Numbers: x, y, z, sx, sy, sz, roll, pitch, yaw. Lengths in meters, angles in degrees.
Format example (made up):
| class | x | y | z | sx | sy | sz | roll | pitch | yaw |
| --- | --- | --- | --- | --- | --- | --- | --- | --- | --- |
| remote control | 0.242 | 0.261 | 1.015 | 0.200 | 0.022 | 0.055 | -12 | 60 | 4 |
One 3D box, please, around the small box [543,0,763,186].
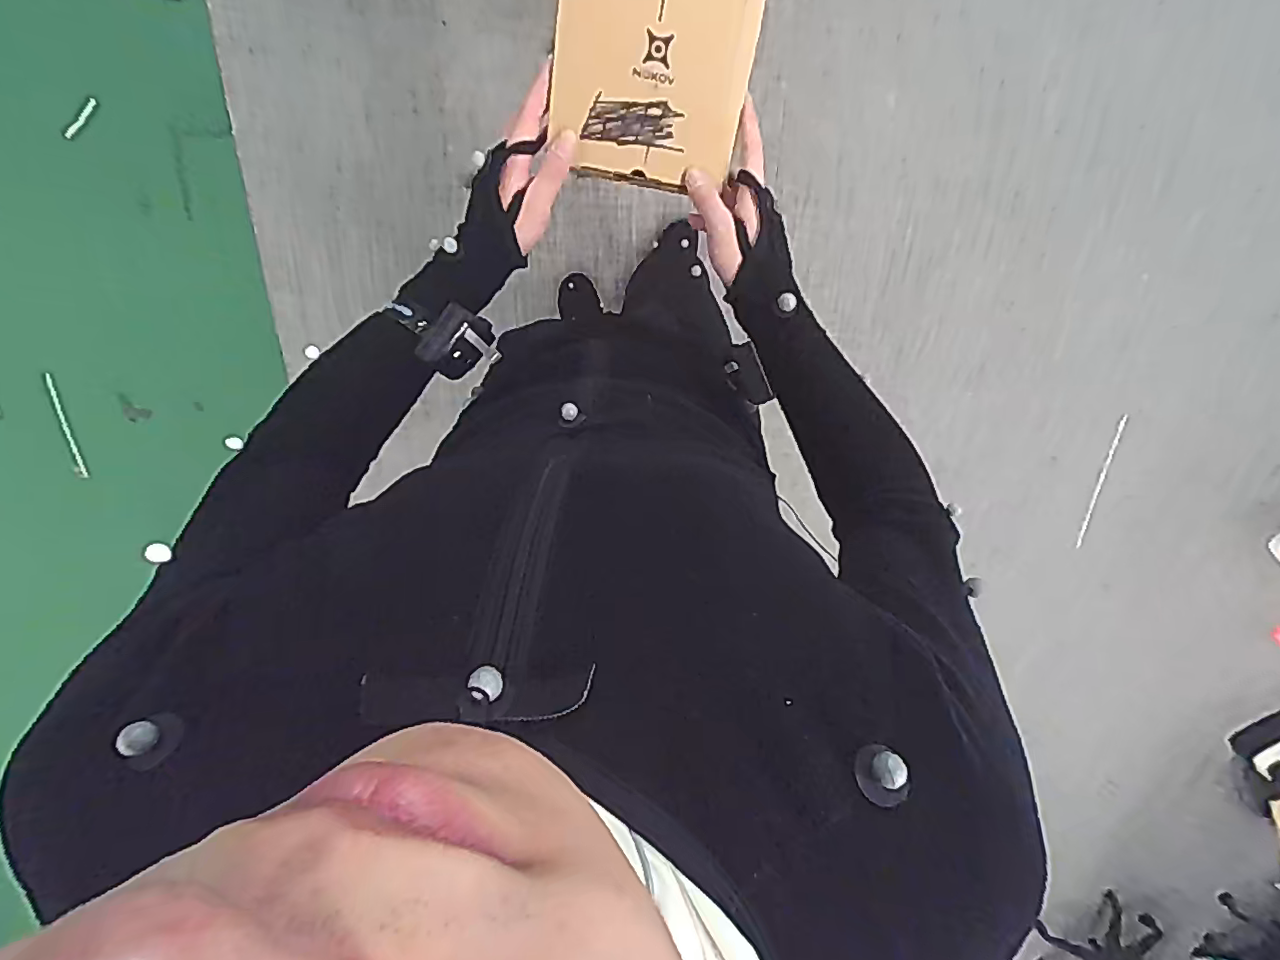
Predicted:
| class | x | y | z | sx | sy | sz | roll | pitch | yaw |
| --- | --- | --- | --- | --- | --- | --- | --- | --- | --- |
| small box | 0.003 | -0.390 | 0.510 | 0.168 | 0.176 | 0.179 | 6 | 117 | -10 |
